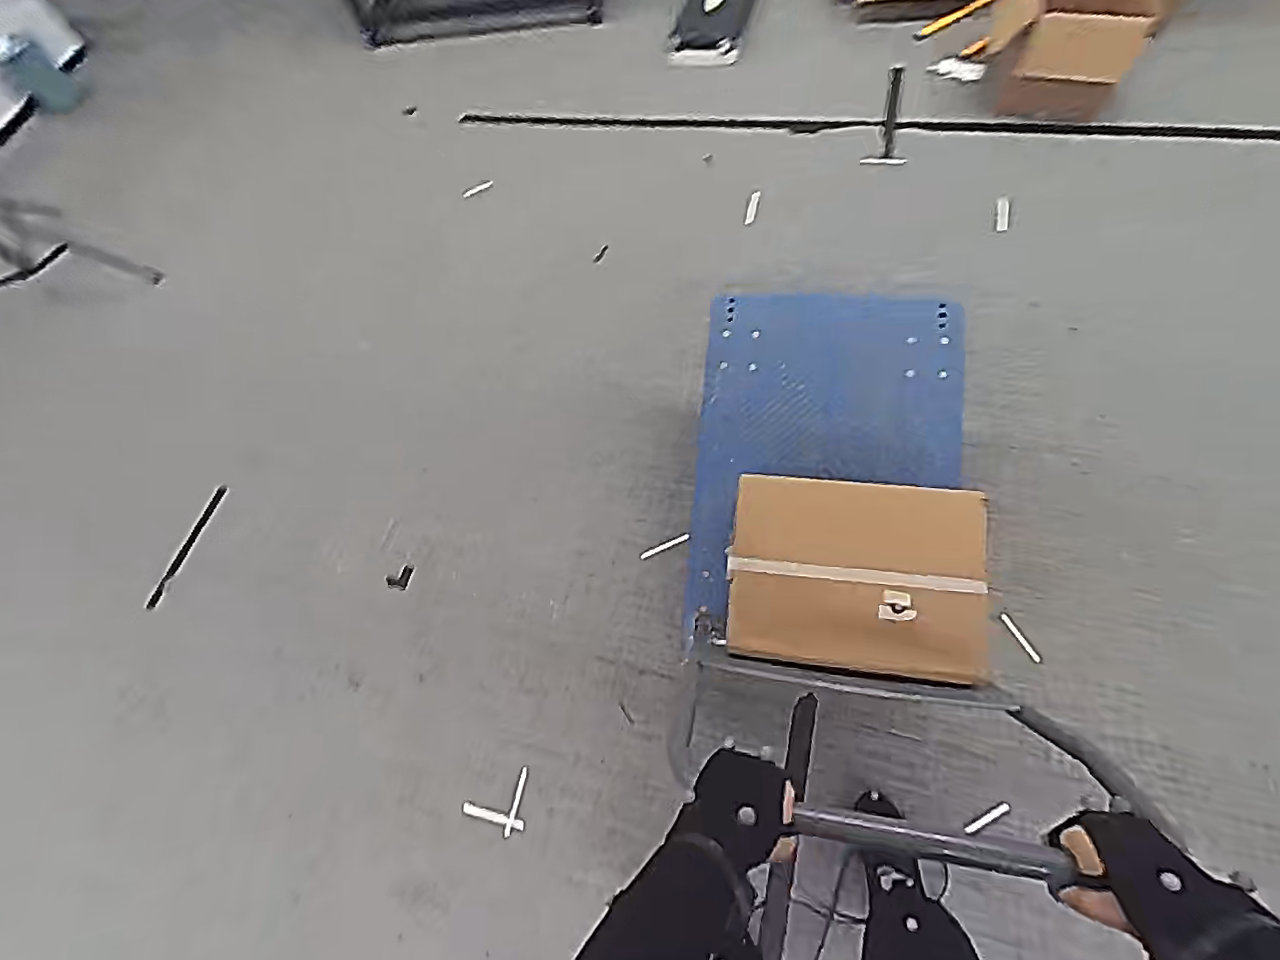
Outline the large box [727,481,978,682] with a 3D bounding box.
[{"bbox_3d":[0.381,0.187,1.068,0.408,0.320,0.320,4,83,9],"label":"large box"}]
